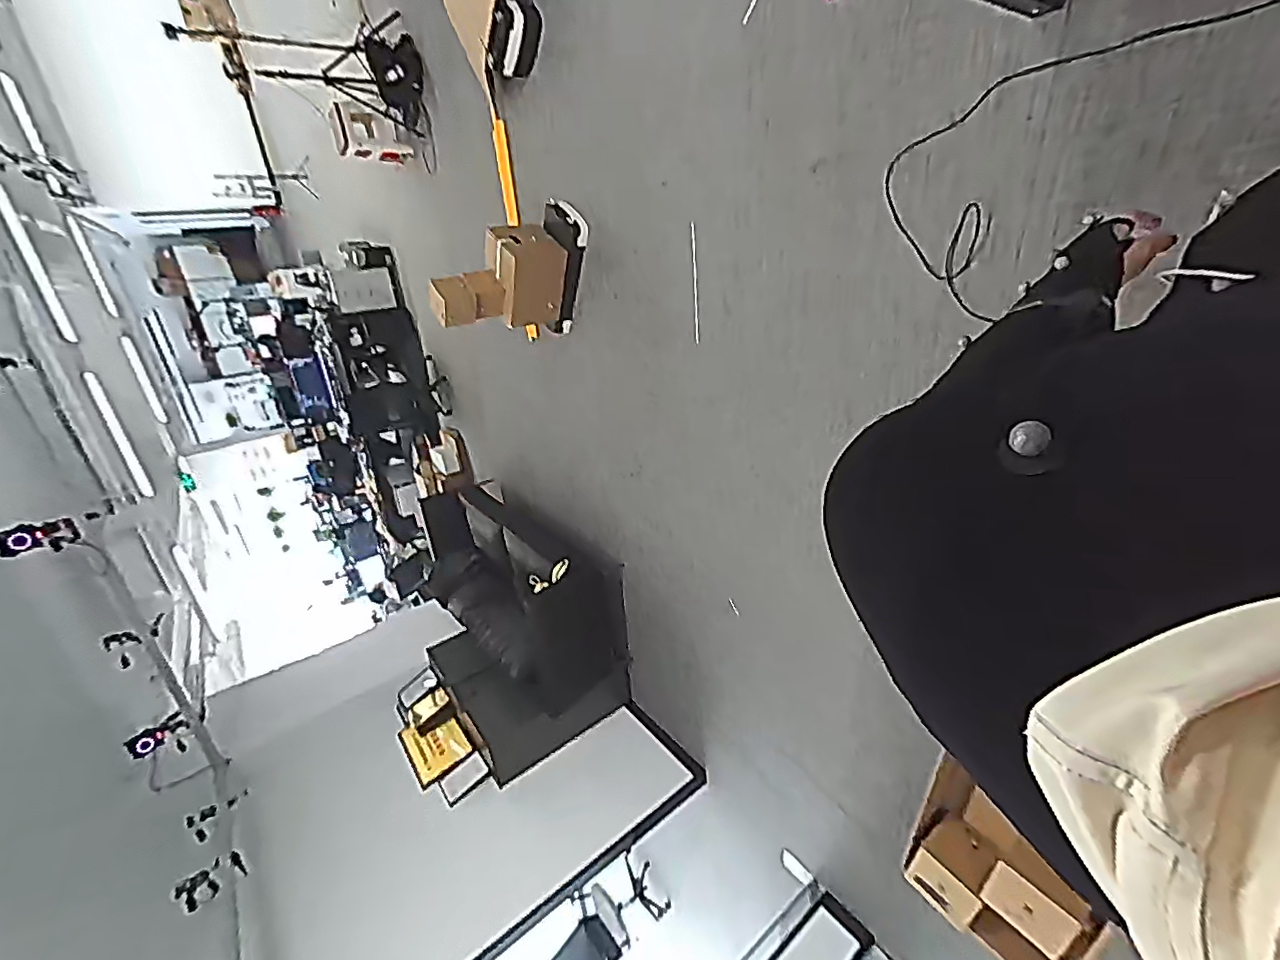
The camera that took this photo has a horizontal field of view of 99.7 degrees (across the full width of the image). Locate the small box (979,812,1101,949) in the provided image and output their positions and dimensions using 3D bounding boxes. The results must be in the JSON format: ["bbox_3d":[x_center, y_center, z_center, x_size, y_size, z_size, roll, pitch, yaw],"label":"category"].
[{"bbox_3d":[0.964,0.954,1.302,0.168,0.176,0.179,33,134,45],"label":"small box"}]
